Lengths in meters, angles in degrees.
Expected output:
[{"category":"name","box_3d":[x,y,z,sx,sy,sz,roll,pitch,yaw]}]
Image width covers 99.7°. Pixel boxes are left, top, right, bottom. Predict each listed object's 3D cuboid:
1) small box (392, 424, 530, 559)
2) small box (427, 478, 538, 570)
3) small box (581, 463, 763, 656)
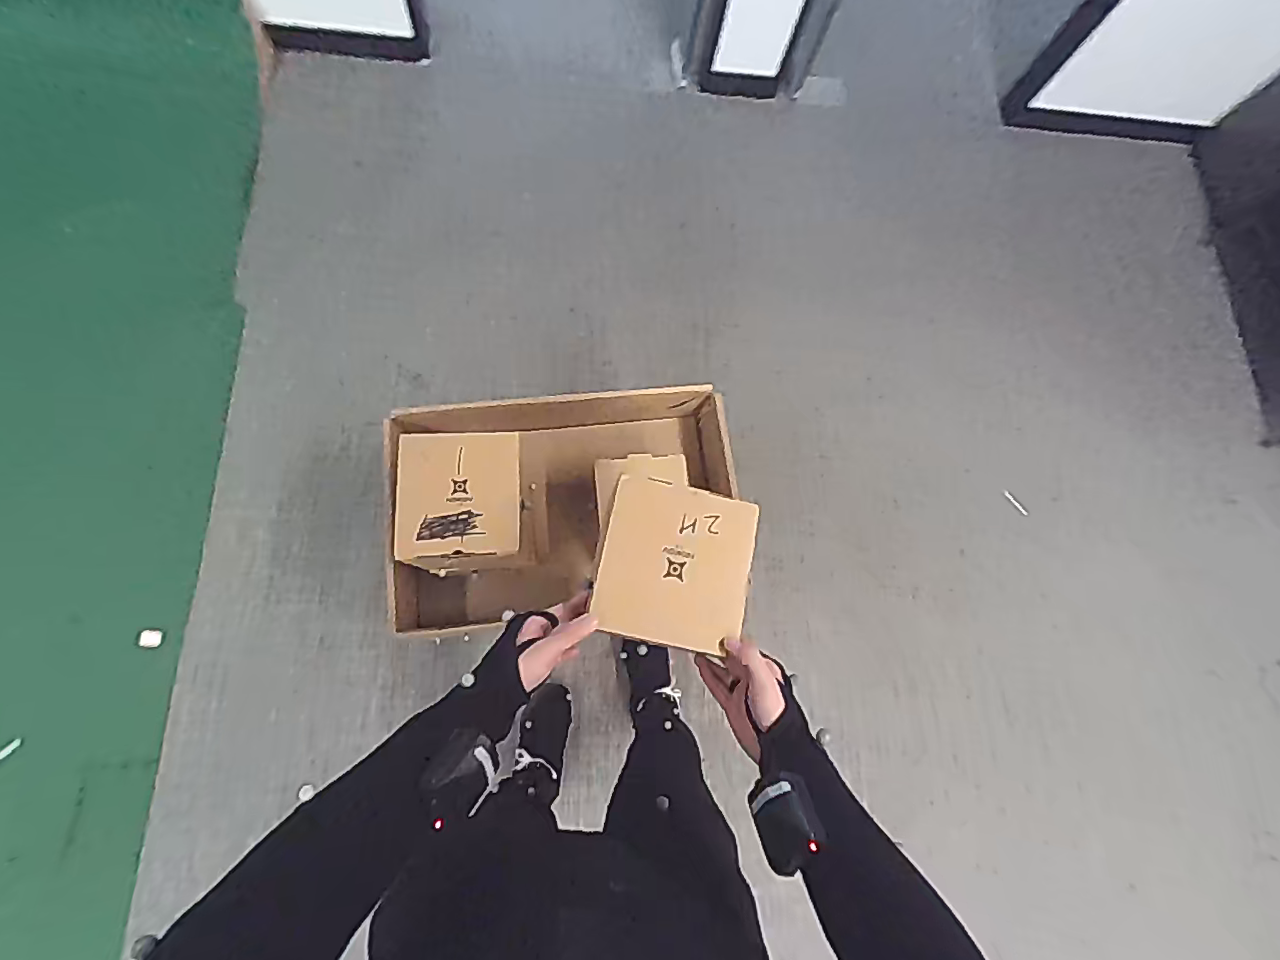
[{"category":"small box","box_3d":[-0.253,0.026,0.807,0.168,0.176,0.179,-1,76,-7]},{"category":"small box","box_3d":[-0.275,0.065,0.965,0.168,0.176,0.179,-5,77,-8]},{"category":"small box","box_3d":[0.028,0.101,0.657,0.168,0.176,0.179,16,74,-7]}]
